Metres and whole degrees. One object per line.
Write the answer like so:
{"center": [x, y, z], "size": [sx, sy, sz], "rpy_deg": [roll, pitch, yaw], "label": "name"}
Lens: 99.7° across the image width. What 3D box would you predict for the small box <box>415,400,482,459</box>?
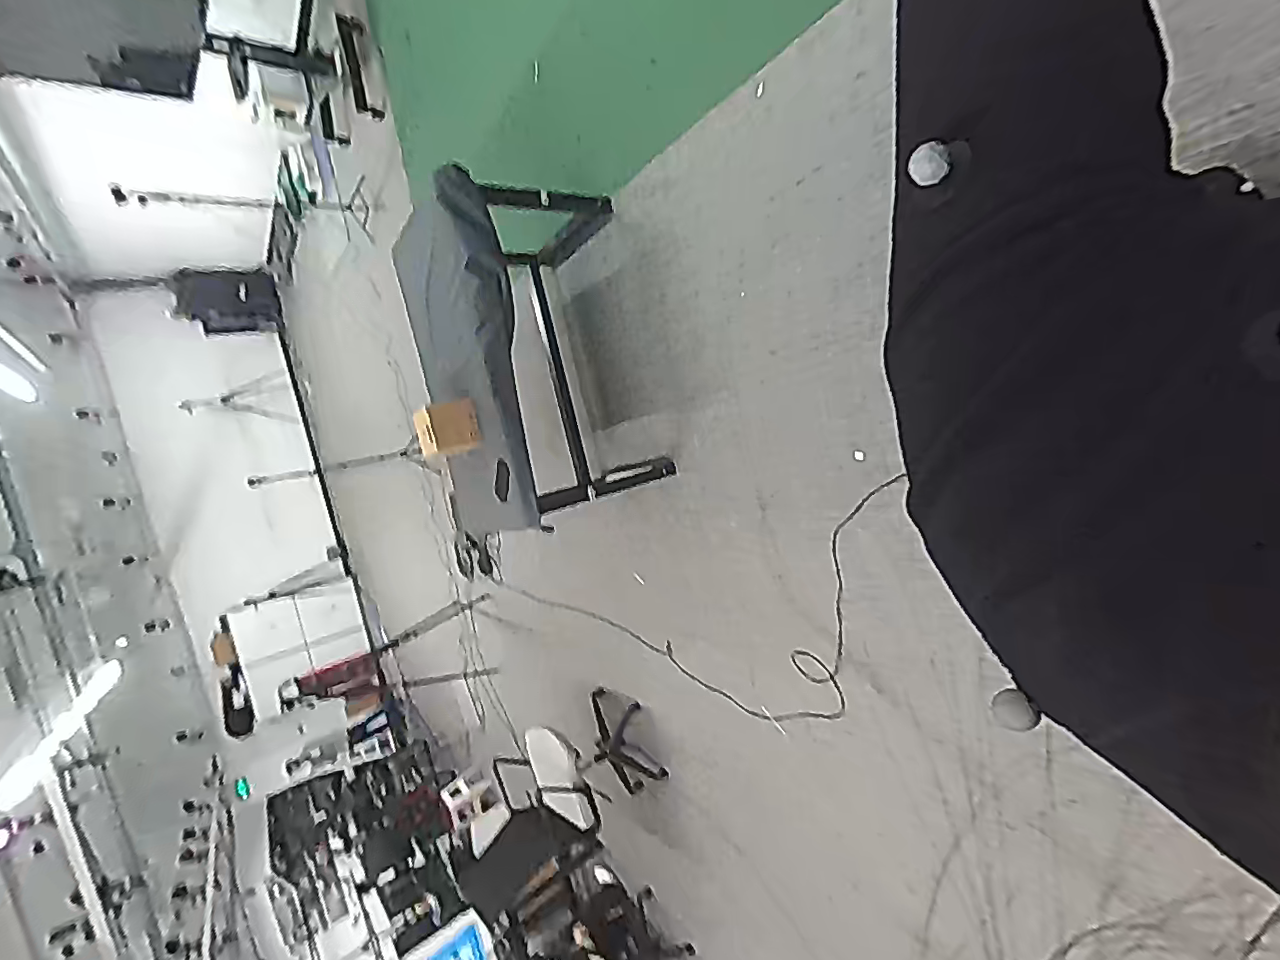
{"center": [-0.694, -0.186, 1.970], "size": [0.179, 0.176, 0.168], "rpy_deg": [-12, 94, 54], "label": "small box"}
